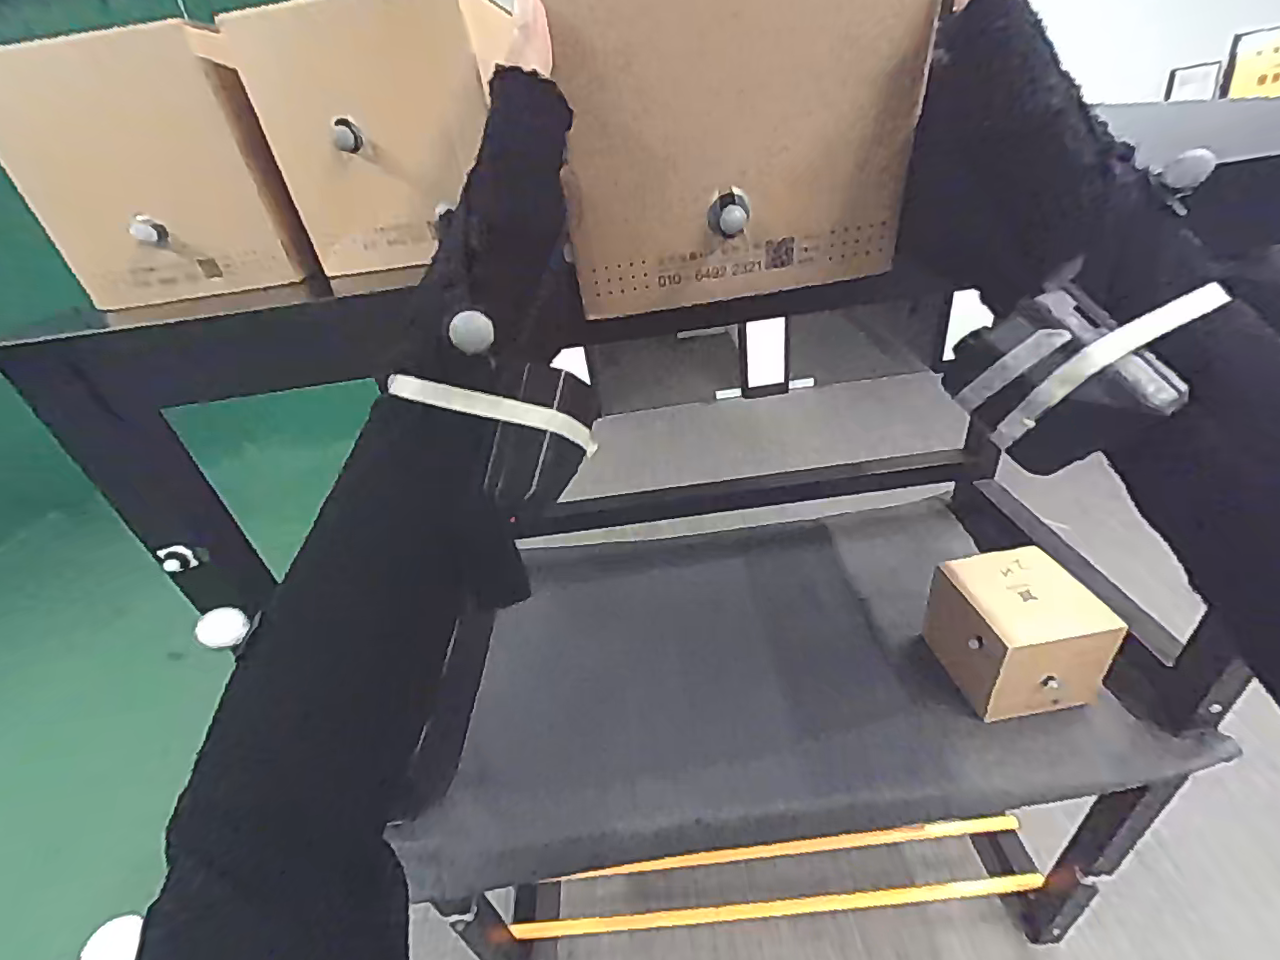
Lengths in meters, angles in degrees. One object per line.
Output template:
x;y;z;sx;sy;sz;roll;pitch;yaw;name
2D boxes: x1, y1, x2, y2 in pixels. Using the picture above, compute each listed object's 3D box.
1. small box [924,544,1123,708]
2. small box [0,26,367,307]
0.569;0.227;0.833;0.168;0.176;0.179;-9;32;-1;small box
-0.364;-0.260;0.464;0.168;0.176;0.179;-8;34;1;small box
